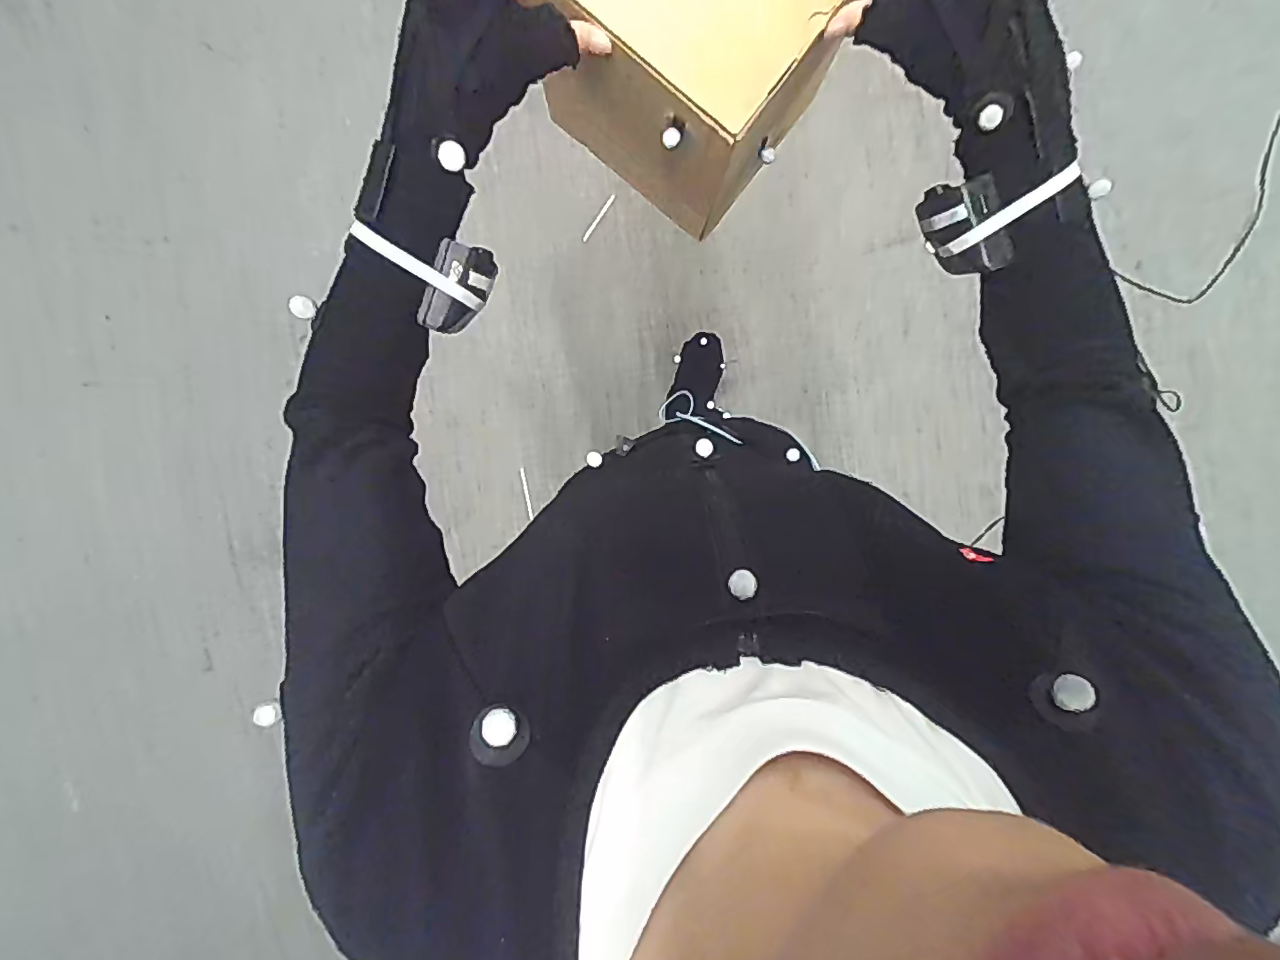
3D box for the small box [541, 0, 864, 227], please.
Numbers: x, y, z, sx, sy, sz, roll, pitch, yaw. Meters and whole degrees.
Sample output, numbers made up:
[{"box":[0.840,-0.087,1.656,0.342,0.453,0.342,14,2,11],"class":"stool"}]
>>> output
[{"box":[0.040,-0.332,0.407,0.179,0.176,0.168,38,92,-4],"class":"small box"}]
